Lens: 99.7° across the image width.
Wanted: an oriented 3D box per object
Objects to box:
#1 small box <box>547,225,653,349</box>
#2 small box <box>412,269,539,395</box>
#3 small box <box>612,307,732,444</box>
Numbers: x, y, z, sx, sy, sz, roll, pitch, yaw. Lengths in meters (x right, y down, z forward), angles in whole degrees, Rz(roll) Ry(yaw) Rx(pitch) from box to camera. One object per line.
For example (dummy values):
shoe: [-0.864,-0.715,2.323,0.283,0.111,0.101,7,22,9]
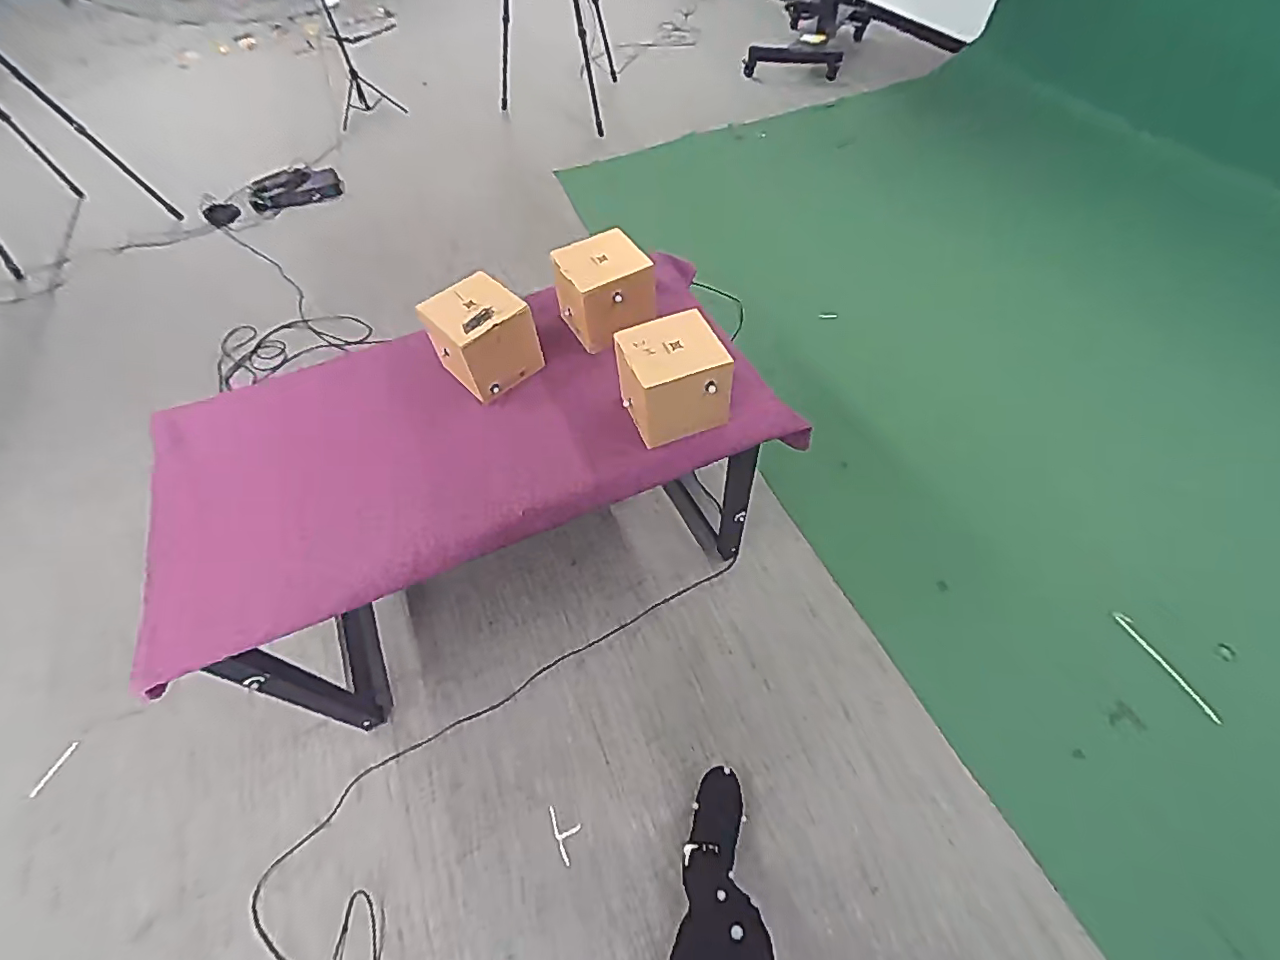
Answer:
small box: [-0.083,-0.428,1.209,0.179,0.176,0.168,-28,59,-12]
small box: [-0.338,-0.304,1.144,0.168,0.176,0.179,-39,62,-20]
small box: [0.059,-0.198,1.041,0.179,0.176,0.168,-19,56,-8]
